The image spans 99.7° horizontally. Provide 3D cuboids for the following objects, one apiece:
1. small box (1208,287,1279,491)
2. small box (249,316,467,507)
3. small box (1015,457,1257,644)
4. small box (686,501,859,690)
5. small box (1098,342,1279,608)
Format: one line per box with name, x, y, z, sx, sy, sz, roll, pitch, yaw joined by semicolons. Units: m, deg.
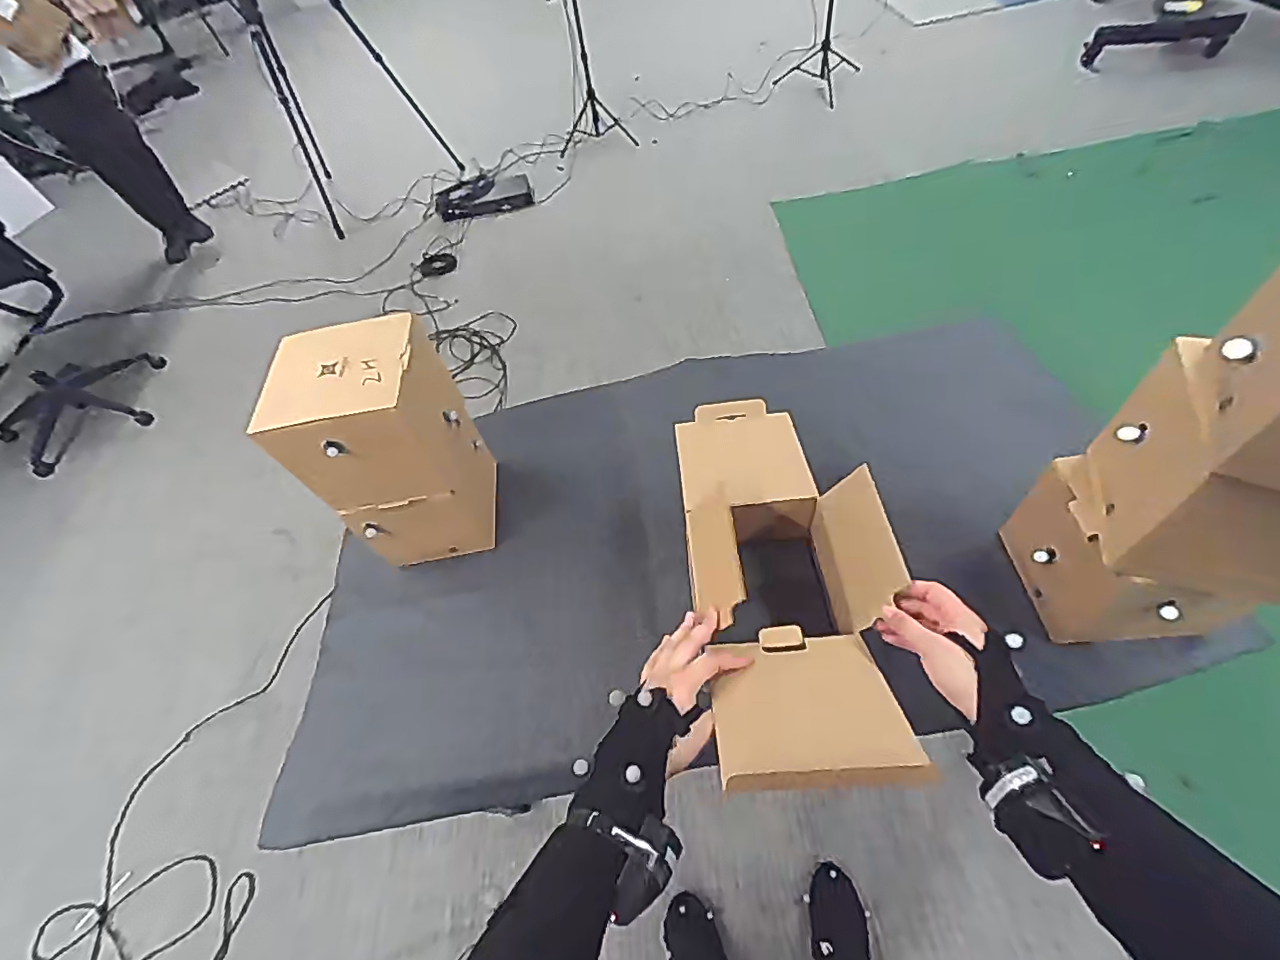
small box;0.540;-0.080;0.351;0.179;0.176;0.168;21;59;24
small box;-0.347;-0.081;0.703;0.179;0.176;0.168;-10;56;2
small box;0.581;0.083;0.636;0.179;0.176;0.168;-6;53;6
small box;0.150;0.149;0.668;0.168;0.176;0.179;-6;53;3
small box;0.562;-0.001;0.496;0.179;0.176;0.168;12;56;18
